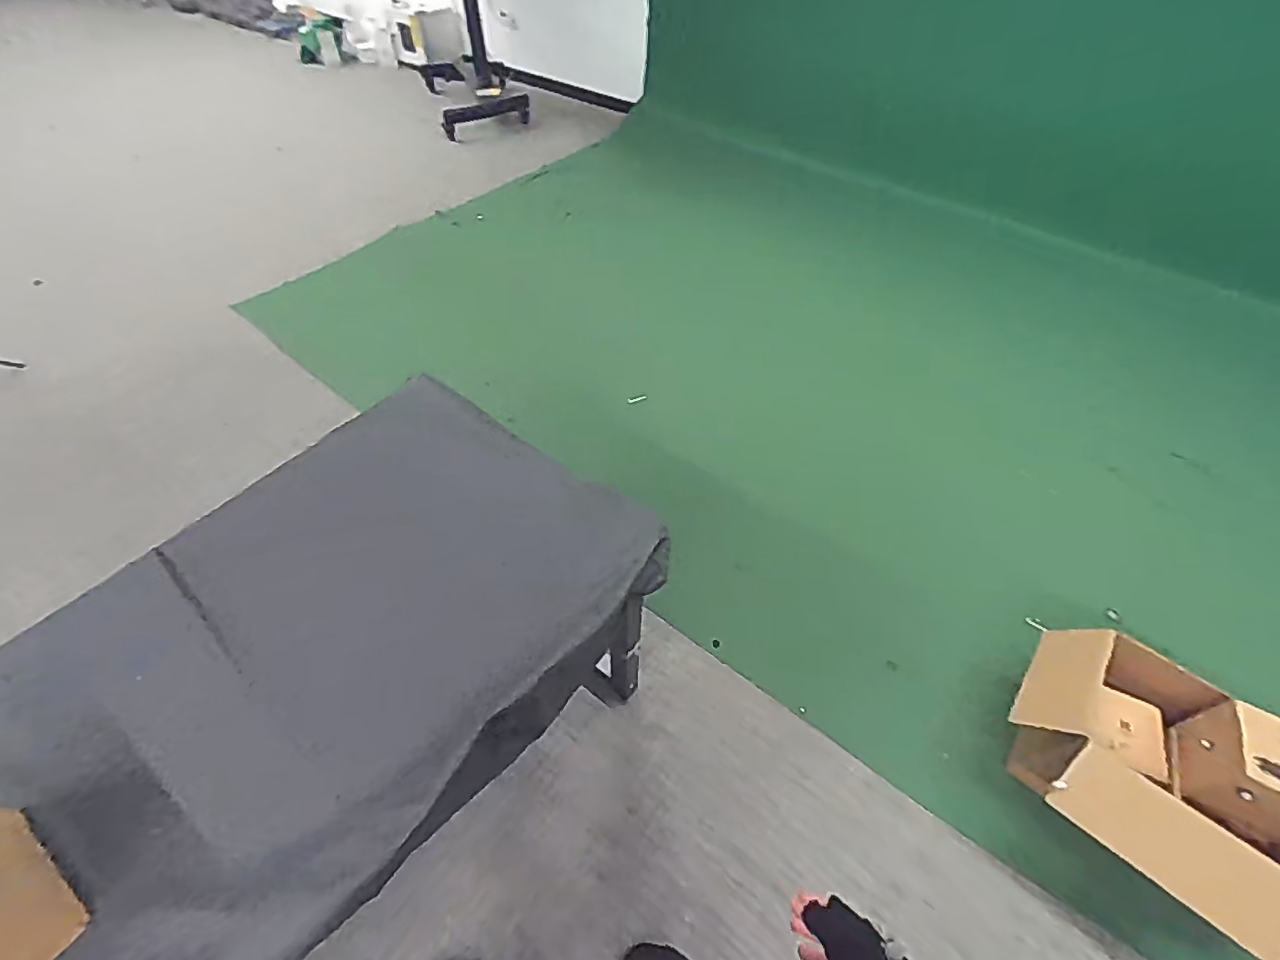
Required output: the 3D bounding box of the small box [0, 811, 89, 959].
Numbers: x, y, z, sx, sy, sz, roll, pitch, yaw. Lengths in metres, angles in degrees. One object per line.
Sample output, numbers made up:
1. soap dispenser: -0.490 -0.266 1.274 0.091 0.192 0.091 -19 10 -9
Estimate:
1. small box: -0.686 0.422 0.493 0.179 0.176 0.168 30 56 19
